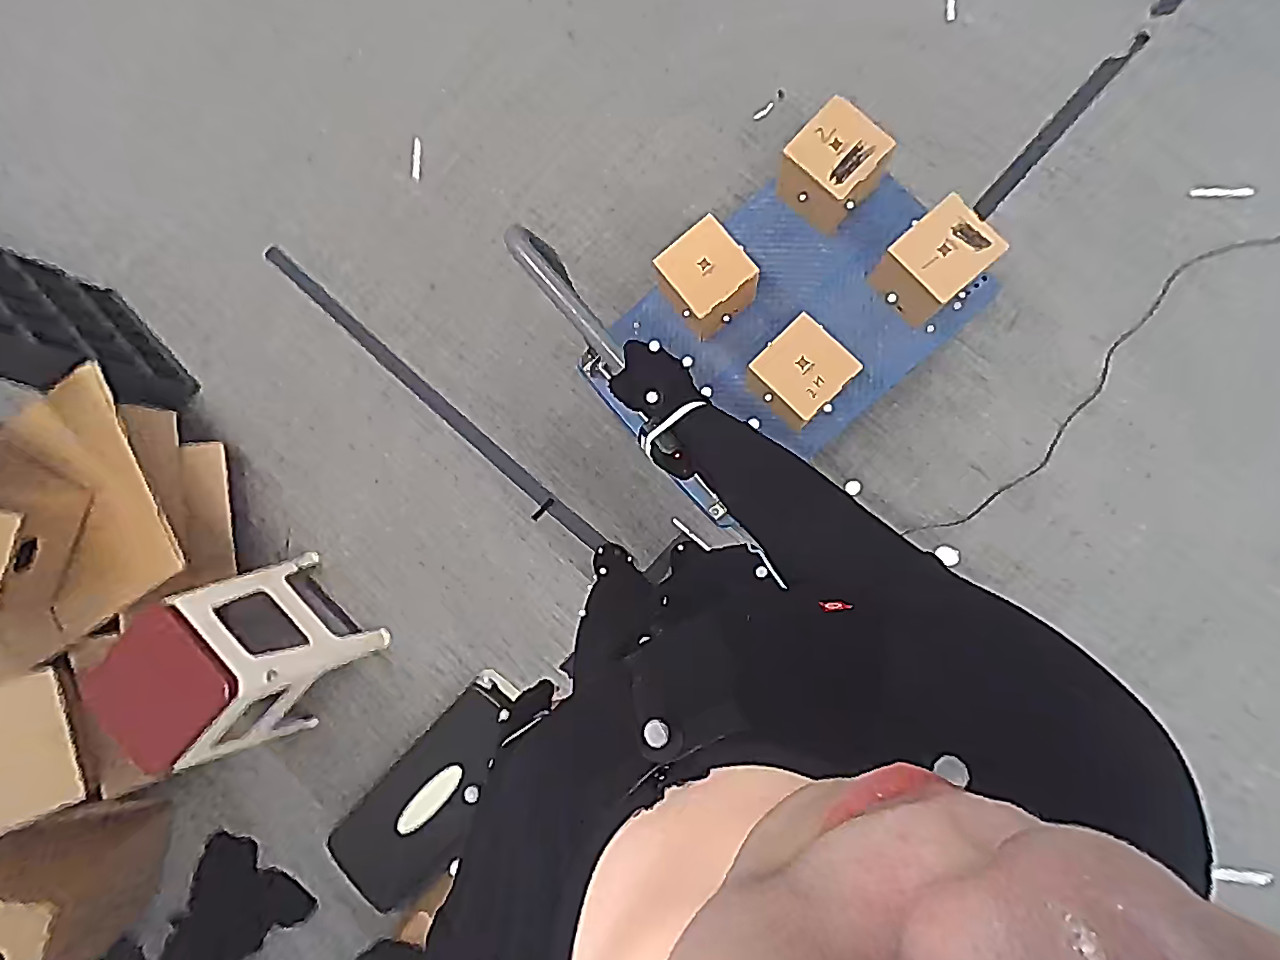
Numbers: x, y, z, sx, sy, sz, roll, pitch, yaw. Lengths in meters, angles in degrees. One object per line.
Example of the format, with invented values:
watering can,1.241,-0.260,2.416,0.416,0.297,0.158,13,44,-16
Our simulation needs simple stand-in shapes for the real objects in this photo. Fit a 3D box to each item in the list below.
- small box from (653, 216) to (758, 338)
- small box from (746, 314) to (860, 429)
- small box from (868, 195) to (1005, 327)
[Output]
small box,0.150,-0.463,1.265,0.168,0.176,0.179,-39,84,4
small box,0.356,-0.235,1.223,0.168,0.176,0.179,-44,82,4
small box,0.641,-0.473,1.195,0.179,0.176,0.168,-41,82,5
